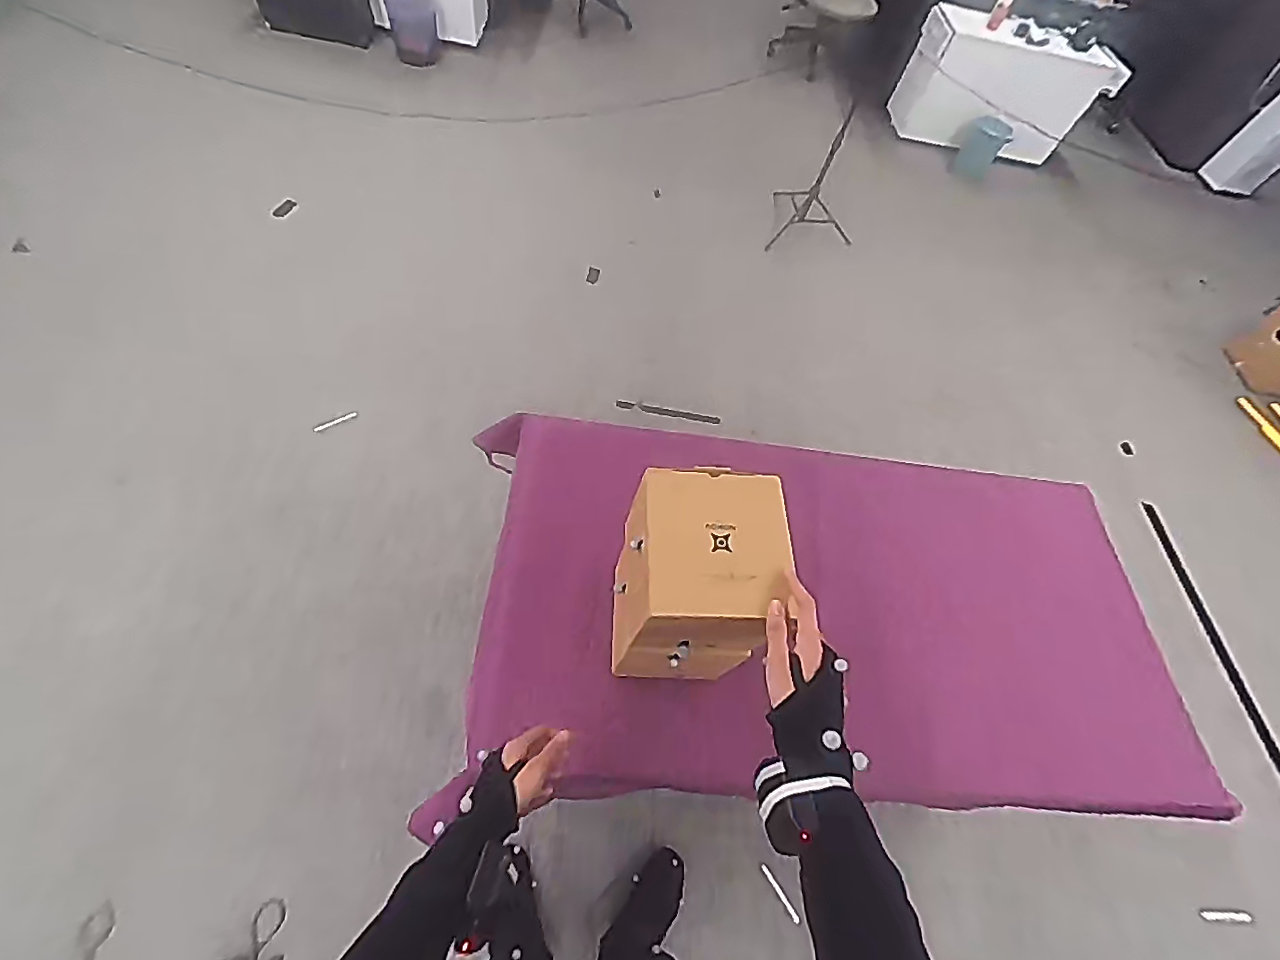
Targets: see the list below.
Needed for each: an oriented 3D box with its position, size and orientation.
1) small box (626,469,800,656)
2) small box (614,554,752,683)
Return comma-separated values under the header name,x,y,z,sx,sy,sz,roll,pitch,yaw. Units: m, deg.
name,x,y,z,sx,sy,sz,roll,pitch,yaw
small box,0.075,0.107,0.666,0.168,0.176,0.179,4,61,-8
small box,0.054,0.191,0.806,0.168,0.176,0.179,6,59,-8
